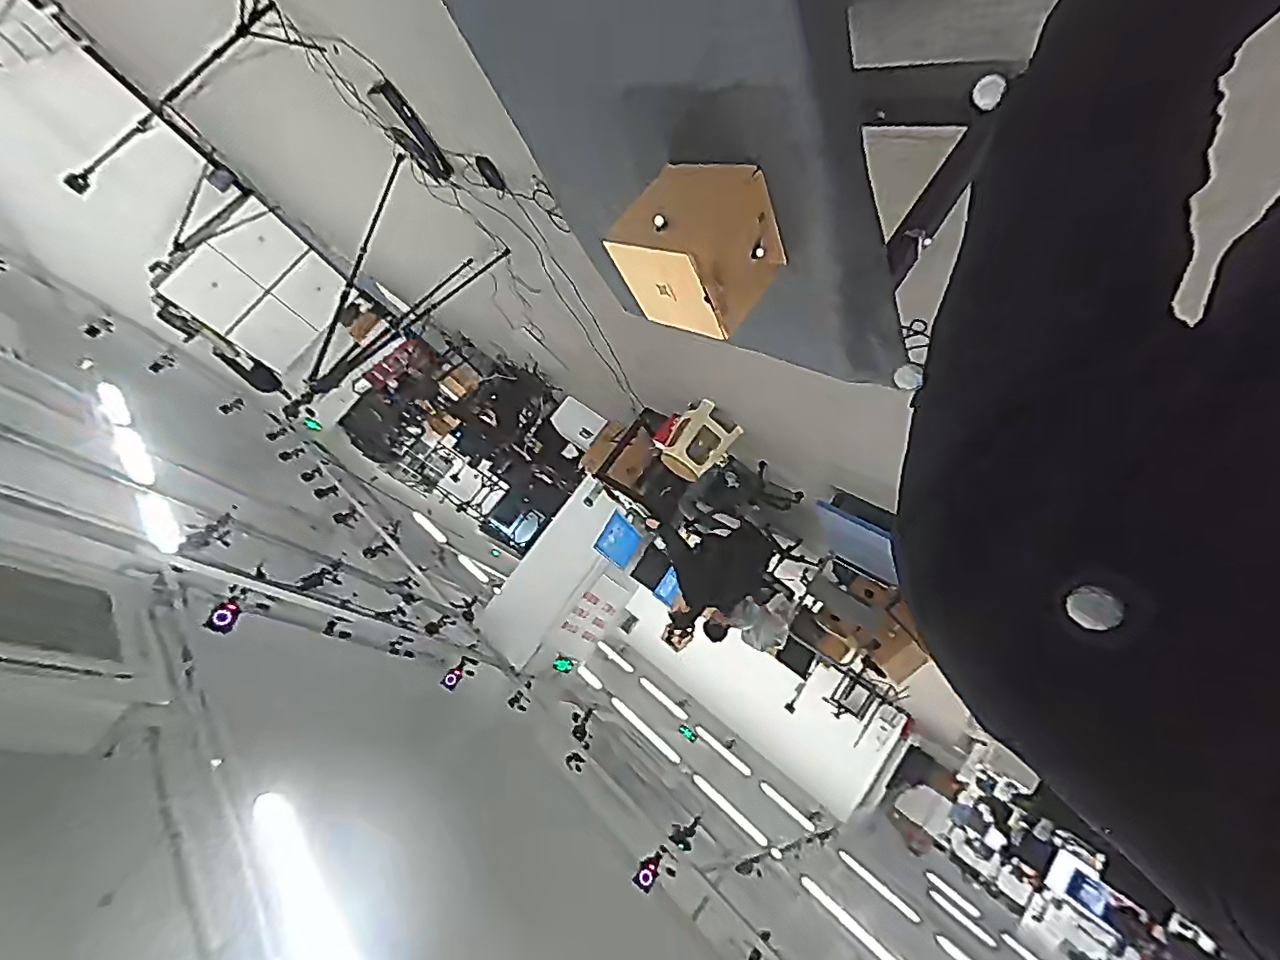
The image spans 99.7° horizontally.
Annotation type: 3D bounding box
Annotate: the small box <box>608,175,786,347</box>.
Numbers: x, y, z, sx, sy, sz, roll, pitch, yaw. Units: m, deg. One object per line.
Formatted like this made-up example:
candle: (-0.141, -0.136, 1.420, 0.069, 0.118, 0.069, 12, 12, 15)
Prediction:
small box: (0.090, -0.335, 0.820, 0.179, 0.176, 0.168, 28, 166, 39)
